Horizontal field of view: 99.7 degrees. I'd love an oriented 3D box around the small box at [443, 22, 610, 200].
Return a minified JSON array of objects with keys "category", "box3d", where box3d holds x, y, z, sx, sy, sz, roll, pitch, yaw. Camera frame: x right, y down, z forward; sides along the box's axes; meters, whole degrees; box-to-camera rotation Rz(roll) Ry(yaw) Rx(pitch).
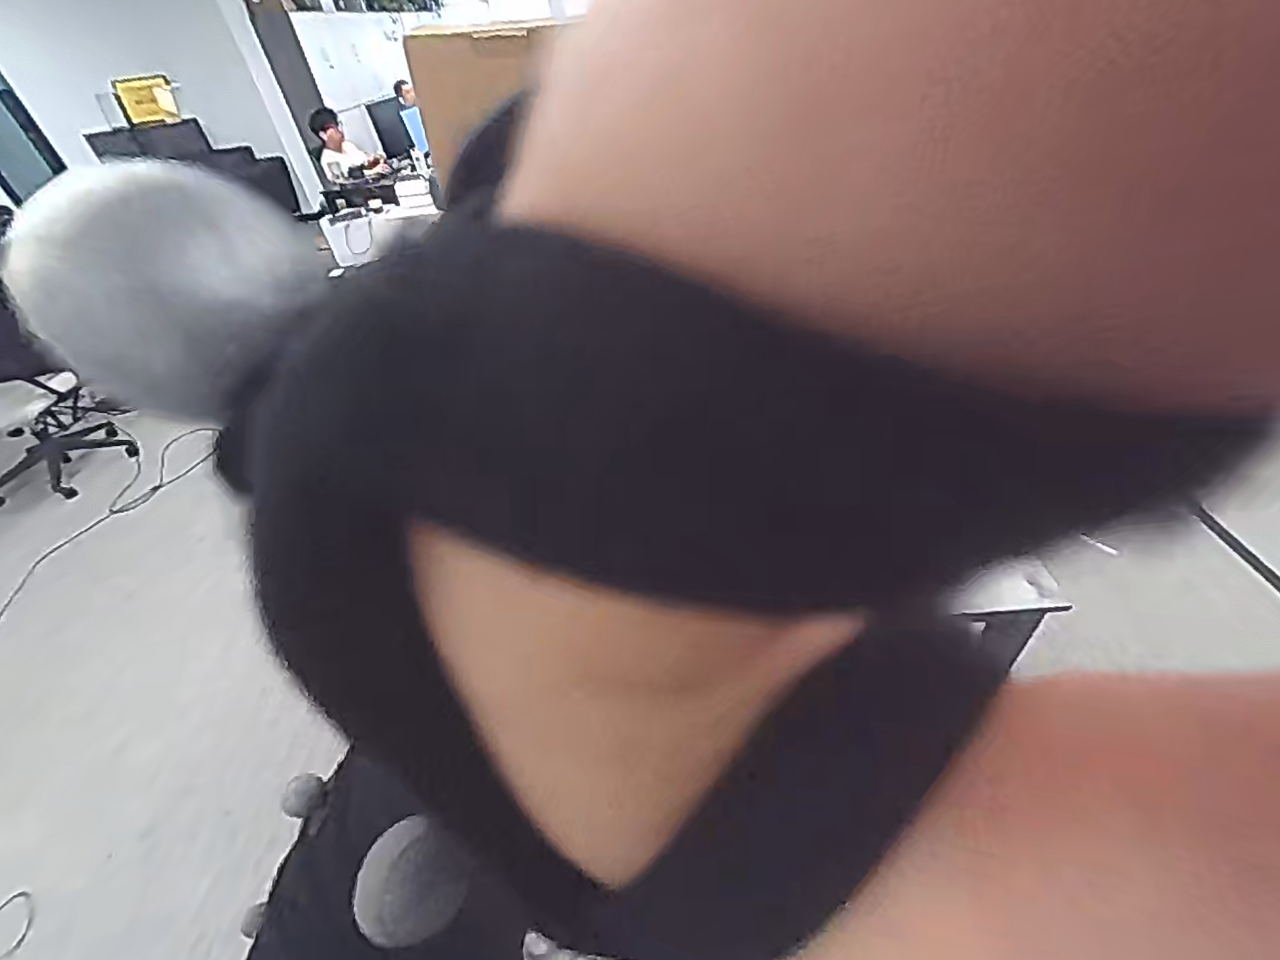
[{"category":"small box","box3d":[-0.133,-0.481,0.710,0.168,0.176,0.179,-6,40,2]}]
